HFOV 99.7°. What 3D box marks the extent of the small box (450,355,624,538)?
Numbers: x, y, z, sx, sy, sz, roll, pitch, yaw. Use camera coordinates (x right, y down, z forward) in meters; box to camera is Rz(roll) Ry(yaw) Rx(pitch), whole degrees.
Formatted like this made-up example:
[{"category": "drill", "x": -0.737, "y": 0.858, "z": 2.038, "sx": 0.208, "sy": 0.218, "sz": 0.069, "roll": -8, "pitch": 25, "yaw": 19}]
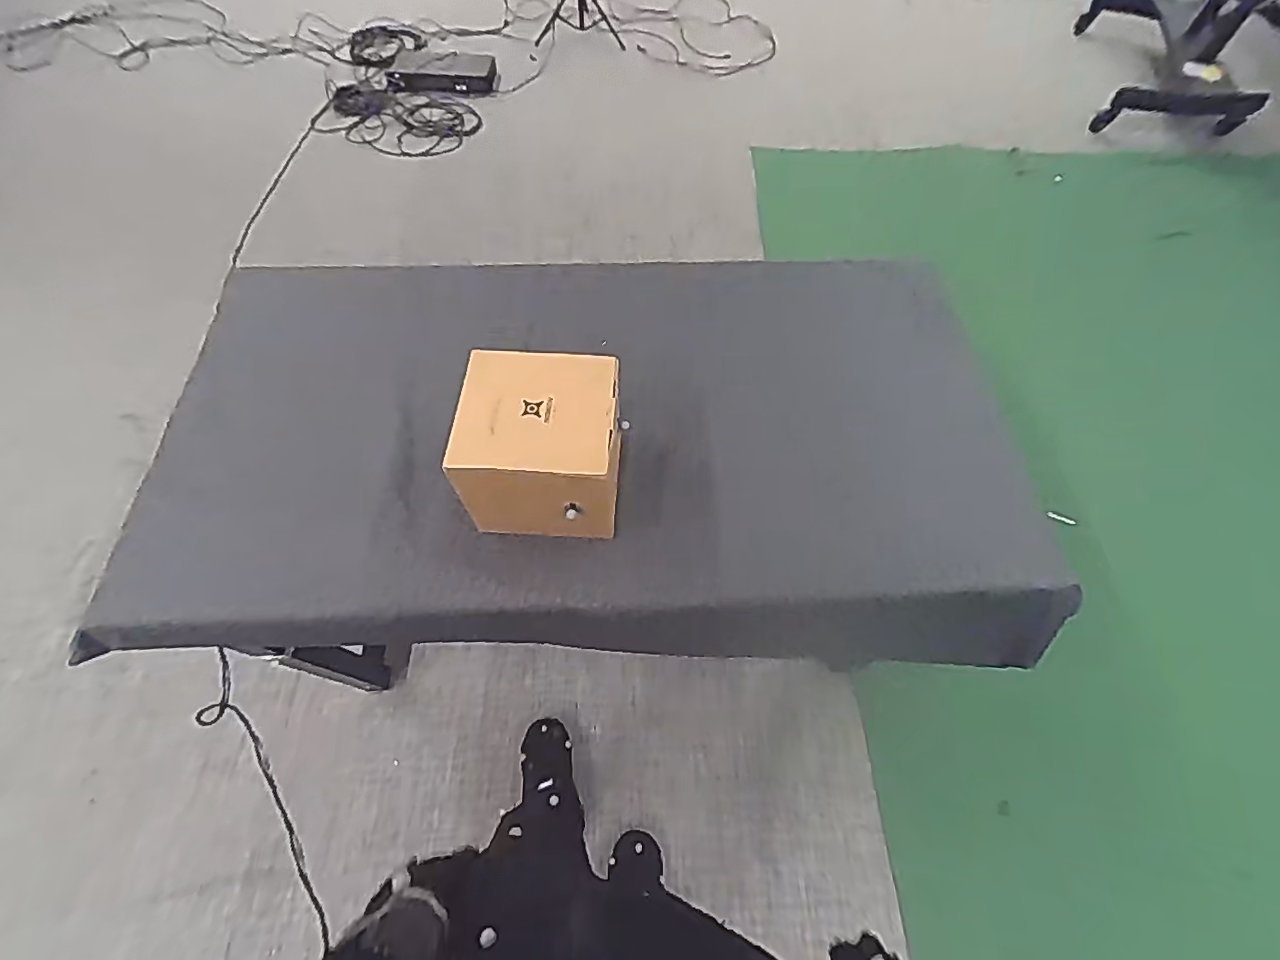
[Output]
[{"category": "small box", "x": -0.111, "y": -0.035, "z": 0.677, "sx": 0.179, "sy": 0.176, "sz": 0.168, "roll": 2, "pitch": 60, "yaw": 1}]
